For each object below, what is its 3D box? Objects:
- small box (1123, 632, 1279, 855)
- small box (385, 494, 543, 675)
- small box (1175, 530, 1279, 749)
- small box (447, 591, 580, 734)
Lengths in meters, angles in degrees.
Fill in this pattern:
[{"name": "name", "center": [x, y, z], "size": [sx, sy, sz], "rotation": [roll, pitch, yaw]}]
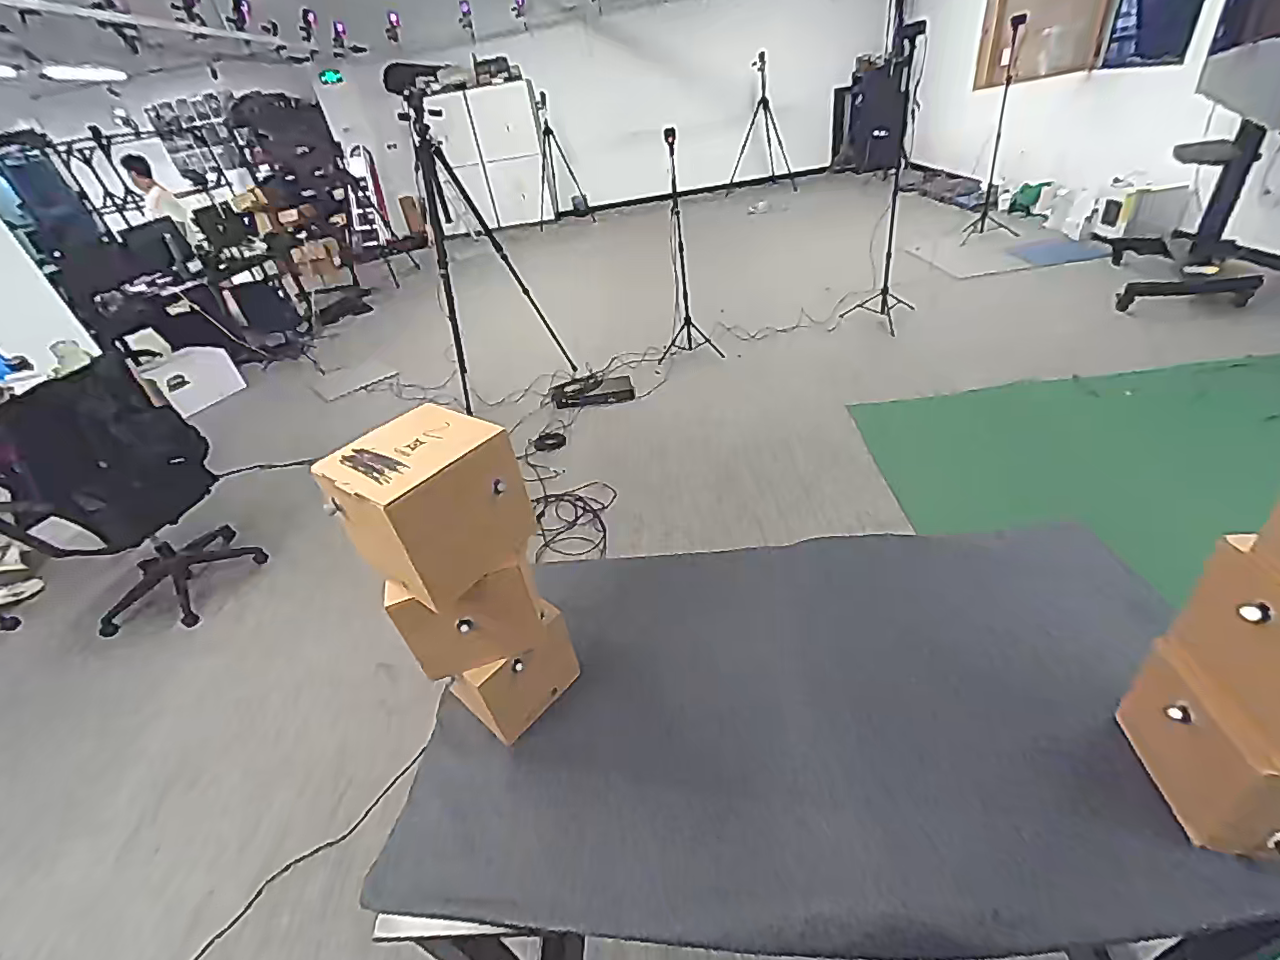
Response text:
[{"name": "small box", "center": [0.715, 0.301, 0.623], "size": [0.168, 0.176, 0.179], "rotation": [-3, 34, 14]}, {"name": "small box", "center": [-0.251, 0.154, 0.801], "size": [0.179, 0.176, 0.168], "rotation": [-18, 37, -9]}, {"name": "small box", "center": [0.703, 0.165, 0.535], "size": [0.168, 0.176, 0.179], "rotation": [-4, 32, 12]}, {"name": "small box", "center": [-0.226, 0.283, 0.901], "size": [0.179, 0.176, 0.168], "rotation": [22, 47, 36]}]
